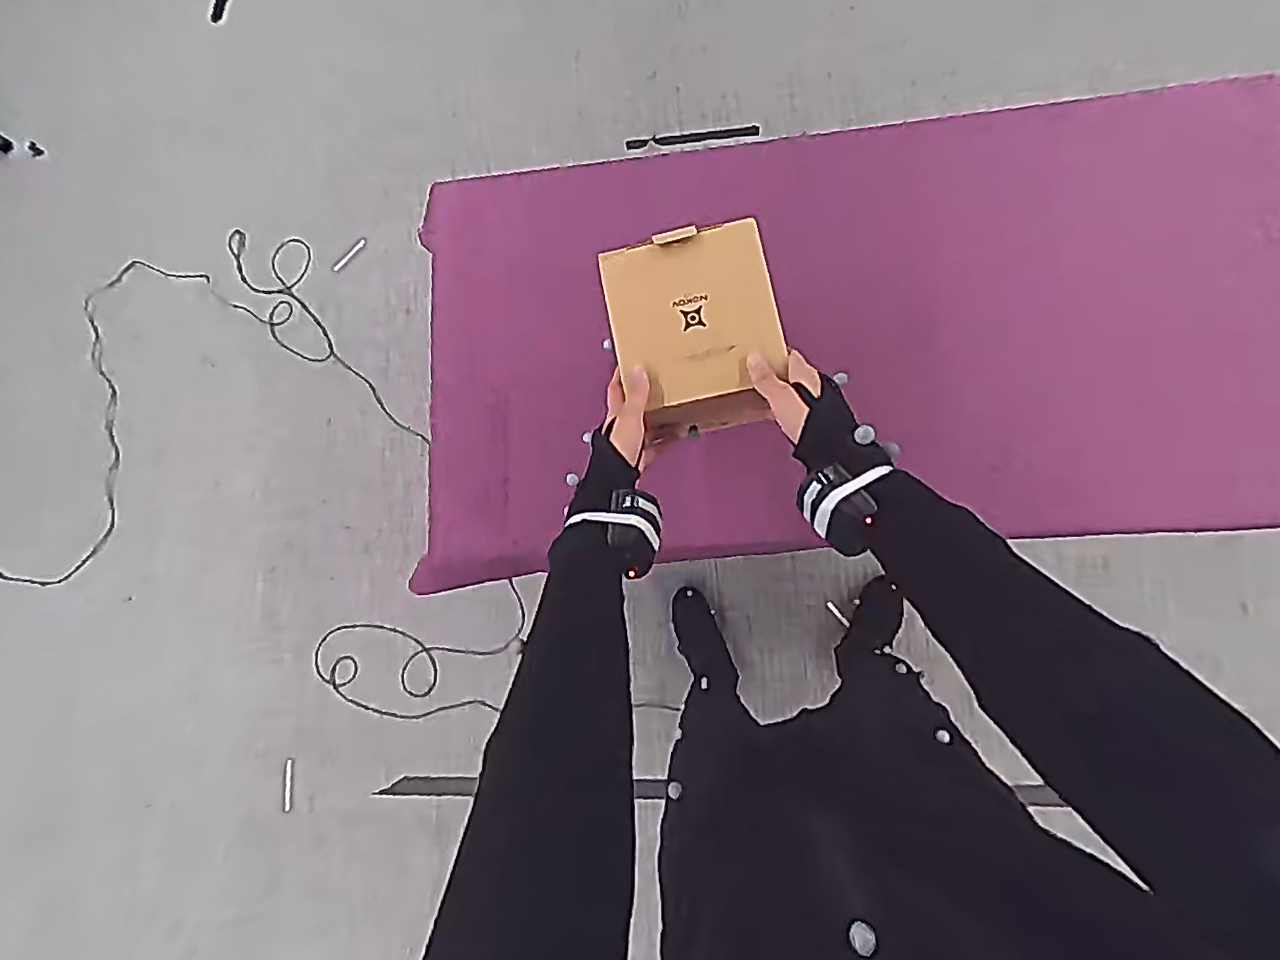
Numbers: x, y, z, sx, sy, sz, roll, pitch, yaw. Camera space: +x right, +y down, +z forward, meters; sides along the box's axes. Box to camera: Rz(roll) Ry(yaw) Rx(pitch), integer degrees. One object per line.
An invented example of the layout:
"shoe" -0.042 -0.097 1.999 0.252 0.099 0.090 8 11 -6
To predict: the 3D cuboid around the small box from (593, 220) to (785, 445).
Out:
"small box" 0.052 -0.151 0.609 0.168 0.176 0.179 -11 82 4
